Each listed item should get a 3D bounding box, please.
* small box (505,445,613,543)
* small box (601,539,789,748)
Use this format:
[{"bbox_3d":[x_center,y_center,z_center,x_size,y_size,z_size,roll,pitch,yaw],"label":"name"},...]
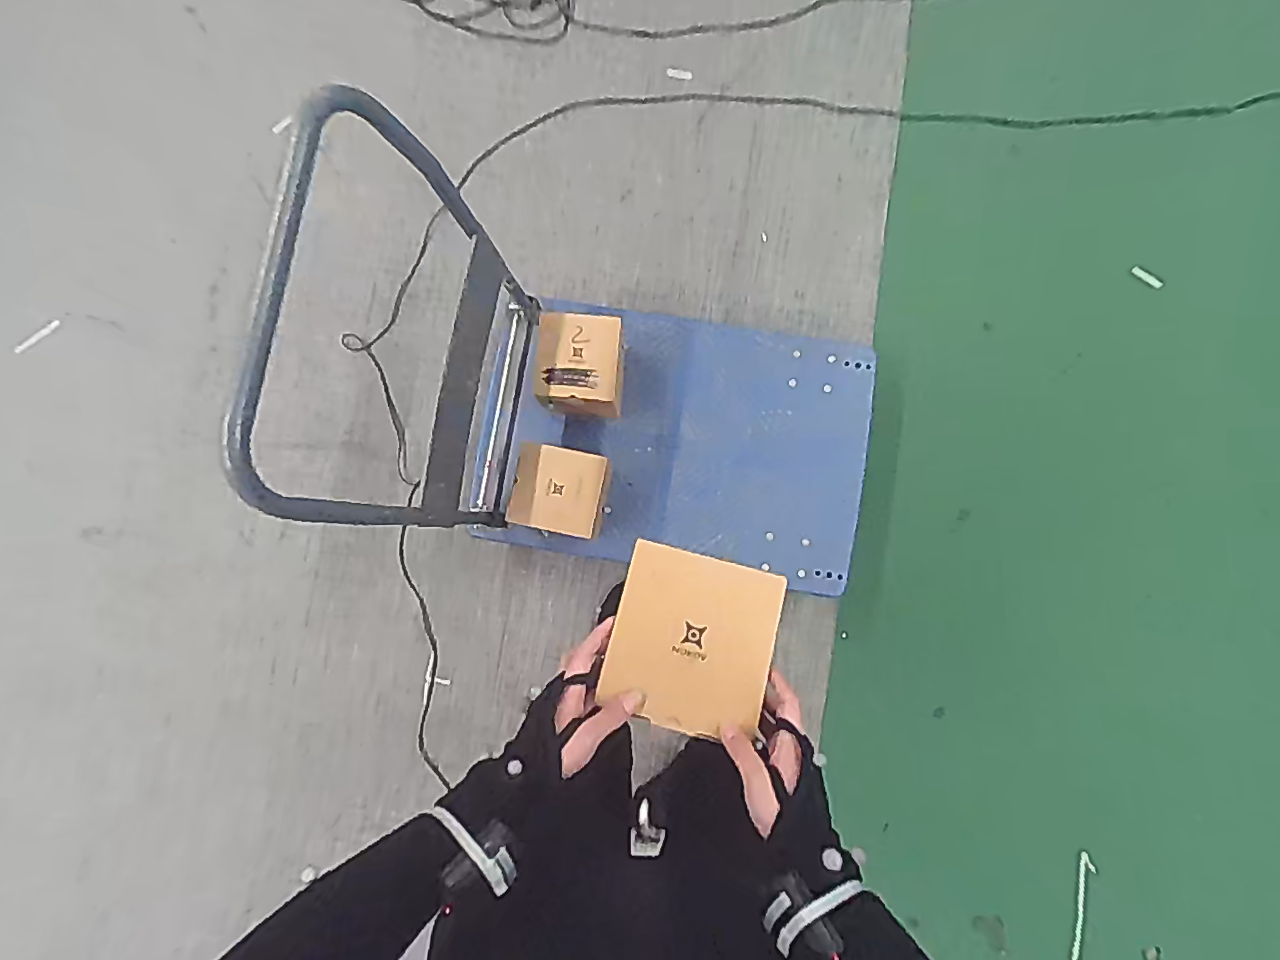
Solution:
[{"bbox_3d":[-0.161,0.035,1.136,0.179,0.176,0.168,12,86,2],"label":"small box"},{"bbox_3d":[0.059,0.183,0.636,0.168,0.176,0.179,14,77,4],"label":"small box"}]
